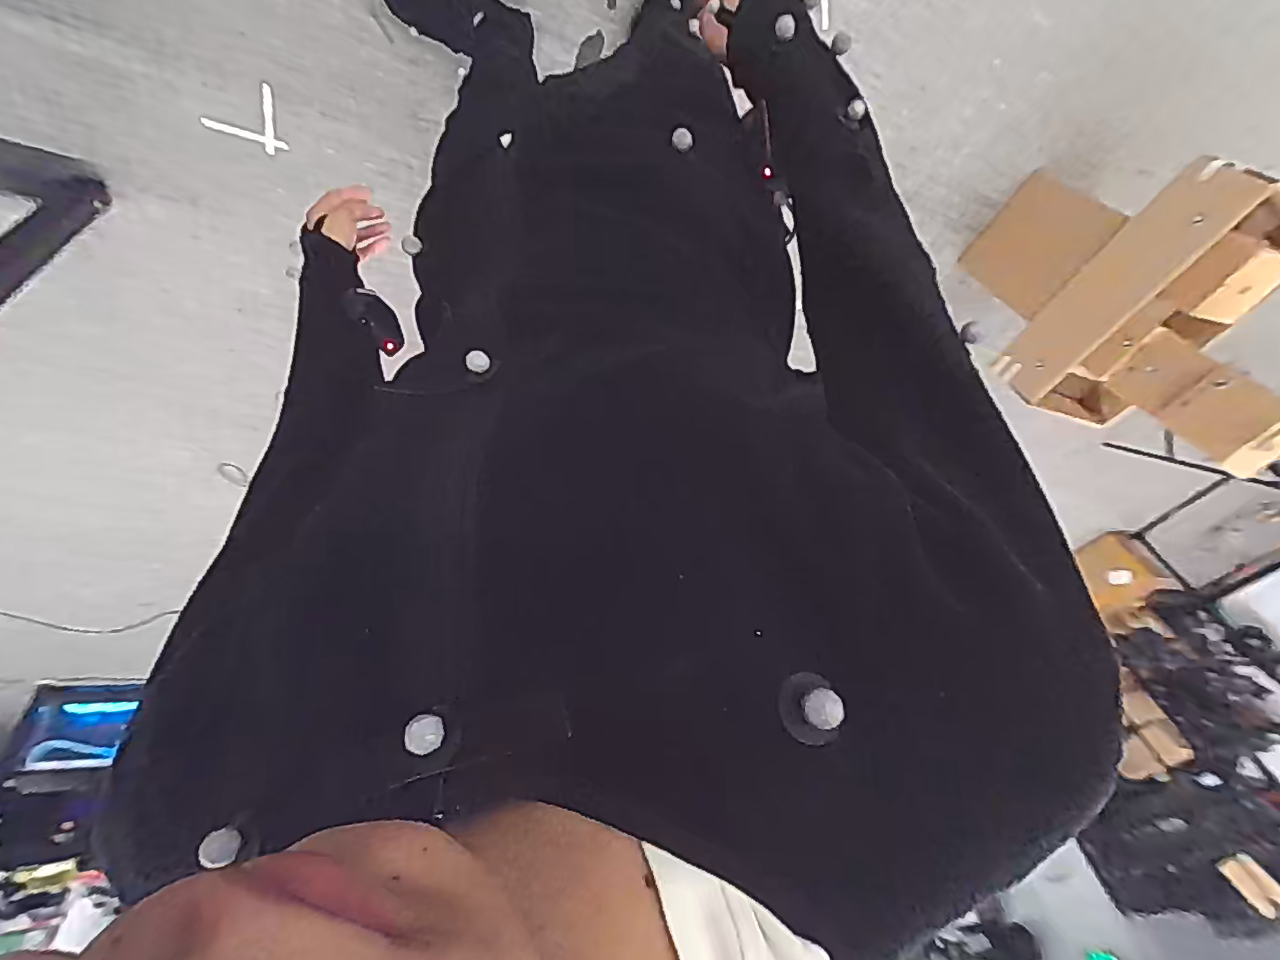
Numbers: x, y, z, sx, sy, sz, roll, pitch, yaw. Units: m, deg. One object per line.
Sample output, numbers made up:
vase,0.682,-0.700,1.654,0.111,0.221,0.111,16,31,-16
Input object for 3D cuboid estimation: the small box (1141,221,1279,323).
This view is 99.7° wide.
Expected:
small box,1.416,-0.513,1.330,0.179,0.176,0.168,2,137,-18

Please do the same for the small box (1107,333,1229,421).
small box,1.350,-0.245,1.358,0.179,0.176,0.168,10,130,-26

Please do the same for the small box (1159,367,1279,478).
small box,1.355,-0.134,1.233,0.179,0.176,0.168,14,129,-30
